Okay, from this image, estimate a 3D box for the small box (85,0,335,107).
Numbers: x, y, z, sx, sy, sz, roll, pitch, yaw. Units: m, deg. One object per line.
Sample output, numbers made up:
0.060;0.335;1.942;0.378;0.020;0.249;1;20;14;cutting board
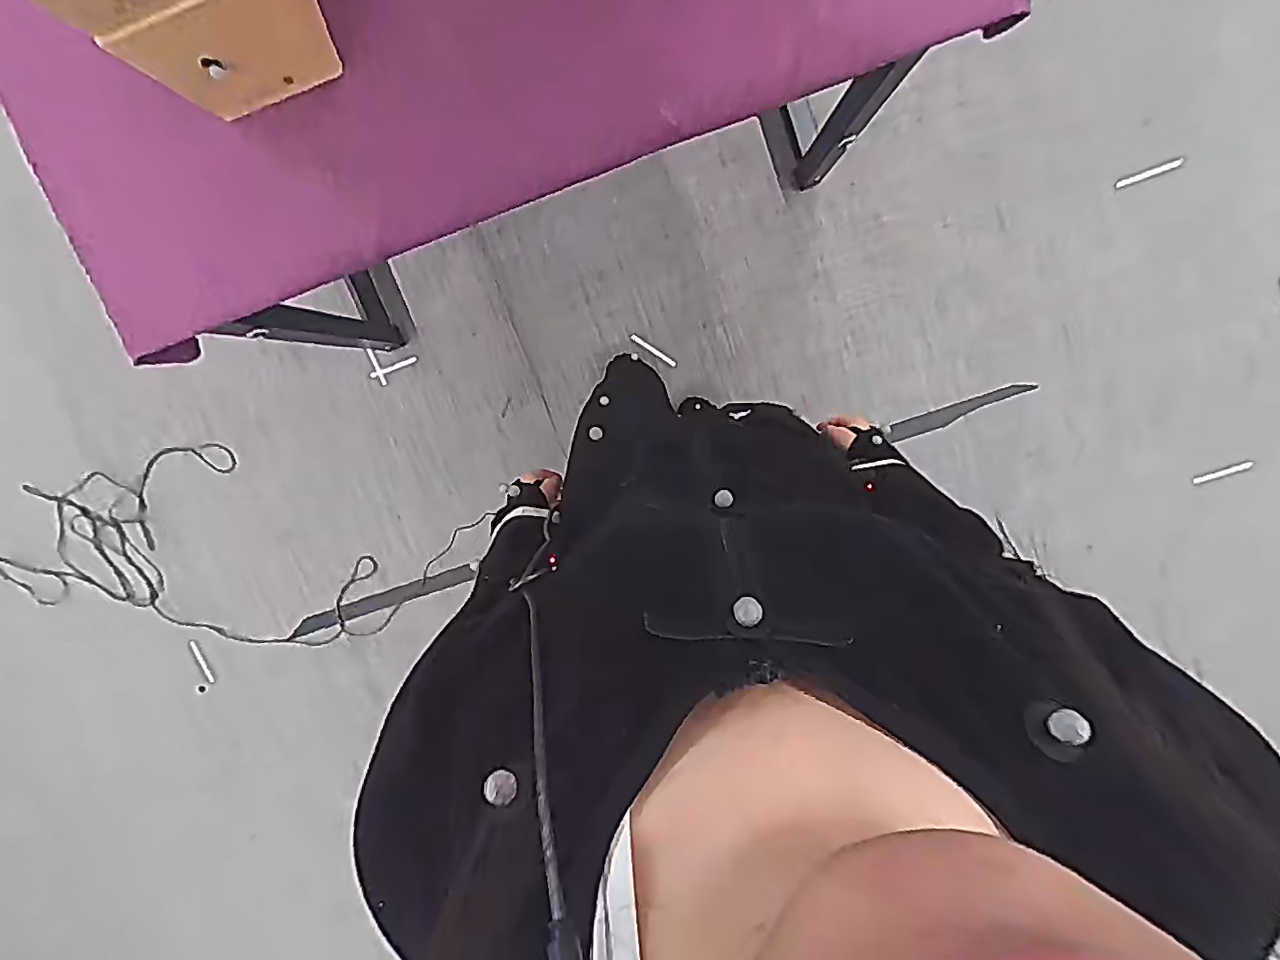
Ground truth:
-0.470;-0.539;0.577;0.168;0.176;0.179;-18;99;5;small box
